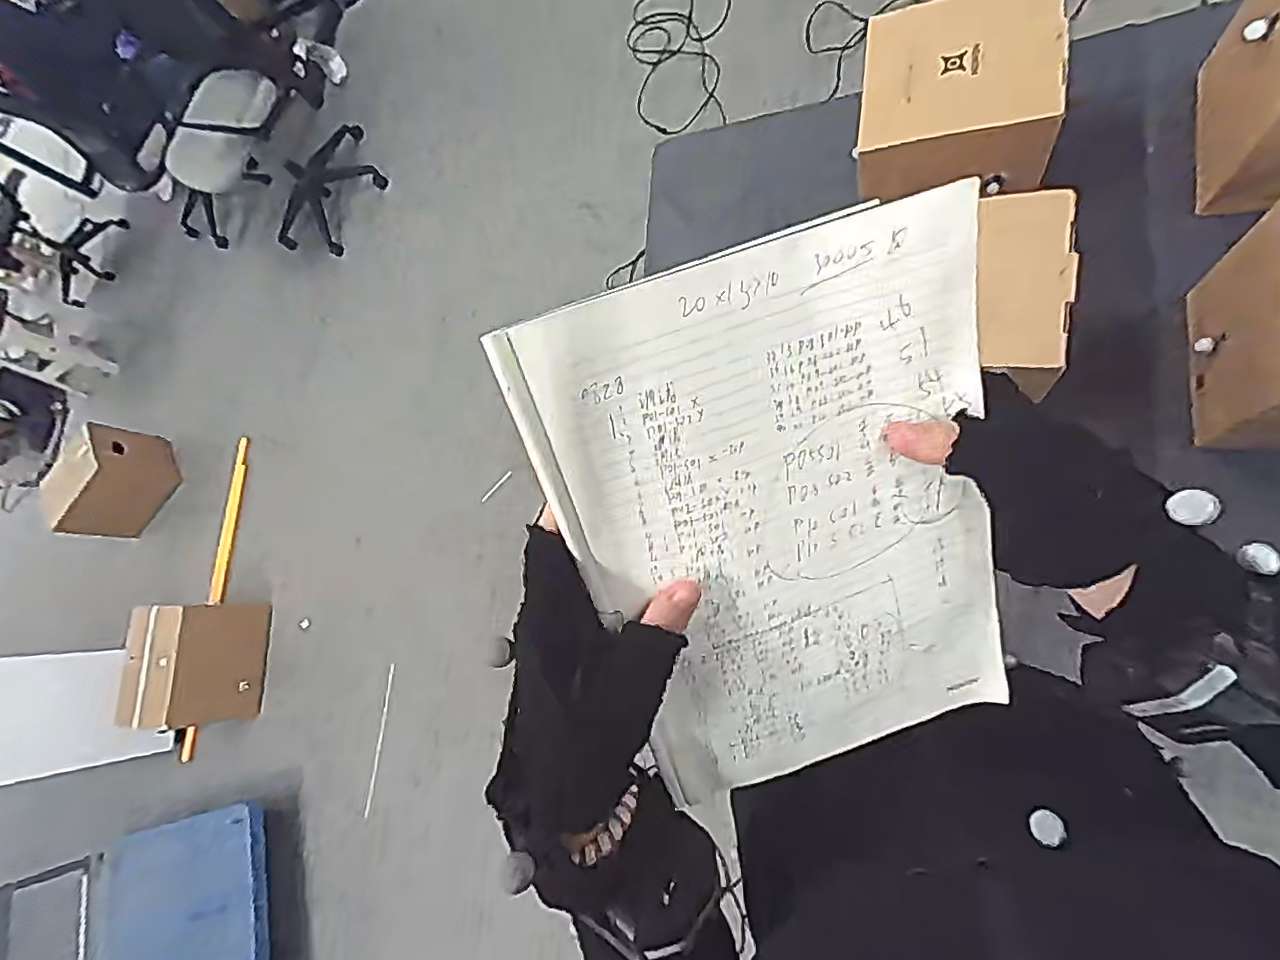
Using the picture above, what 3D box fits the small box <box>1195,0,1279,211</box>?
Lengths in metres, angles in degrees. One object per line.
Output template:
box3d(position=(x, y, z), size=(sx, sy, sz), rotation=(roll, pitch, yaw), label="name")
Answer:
box3d(position=(0.631, -0.359, 0.468), size=(0.168, 0.176, 0.179), rotation=(6, 81, 26), label="small box")

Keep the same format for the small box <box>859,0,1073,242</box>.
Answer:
box3d(position=(0.347, -0.392, 0.602), size=(0.179, 0.176, 0.168), rotation=(5, 80, 25), label="small box")

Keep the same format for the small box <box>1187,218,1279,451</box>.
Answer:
box3d(position=(0.591, -0.120, 0.429), size=(0.179, 0.176, 0.168), rotation=(4, 79, 26), label="small box")
